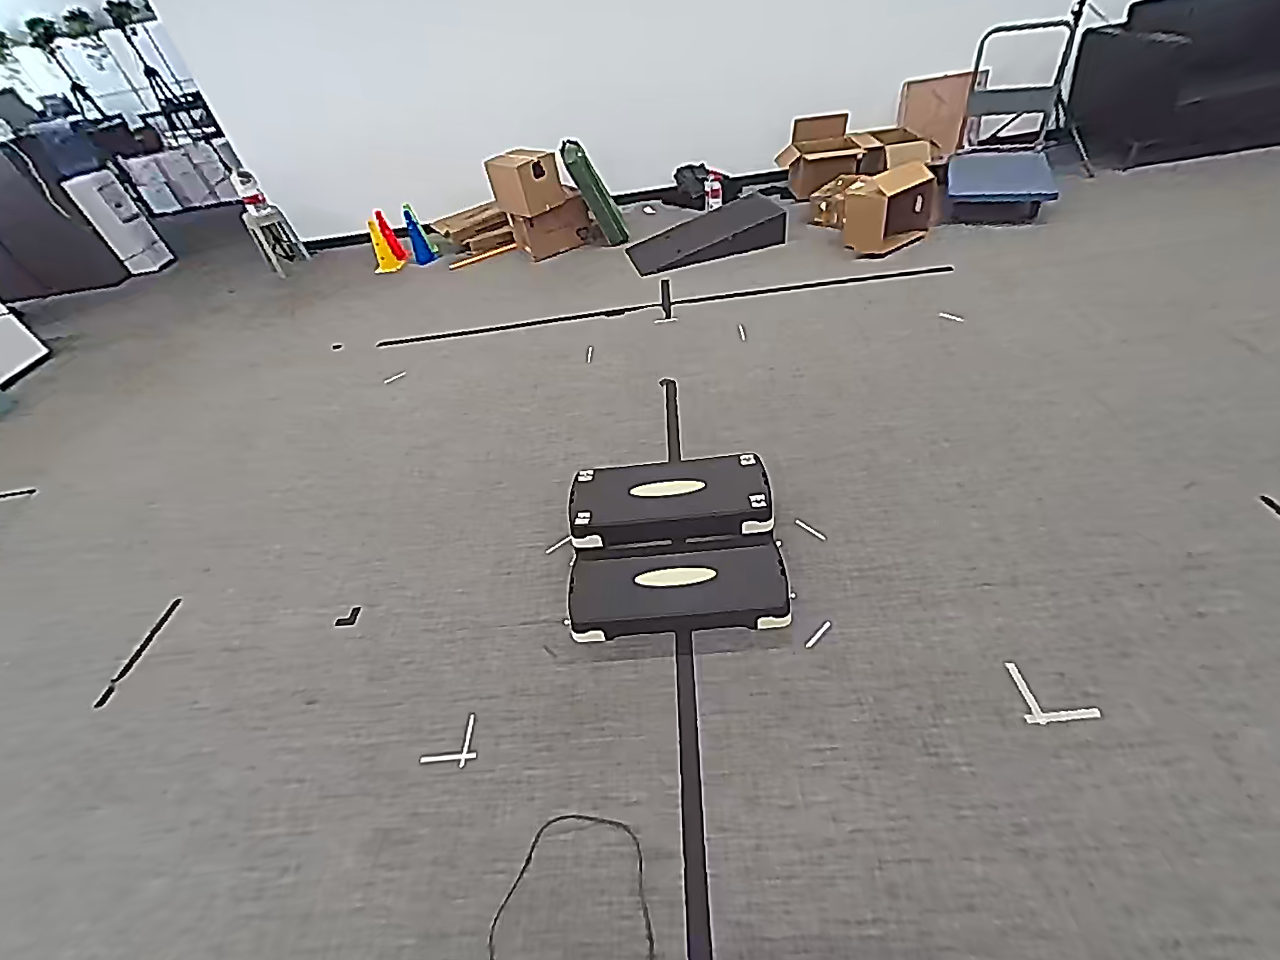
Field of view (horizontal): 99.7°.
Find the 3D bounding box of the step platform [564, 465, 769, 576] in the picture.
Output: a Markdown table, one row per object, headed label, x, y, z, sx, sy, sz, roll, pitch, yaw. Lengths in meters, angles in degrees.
| label | x | y | z | sx | sy | sz | roll | pitch | yaw |
| --- | --- | --- | --- | --- | --- | --- | --- | --- | --- |
| step platform | 0.086 | 0.132 | 1.844 | 0.684 | 0.204 | 0.286 | -6 | 44 | 4 |
